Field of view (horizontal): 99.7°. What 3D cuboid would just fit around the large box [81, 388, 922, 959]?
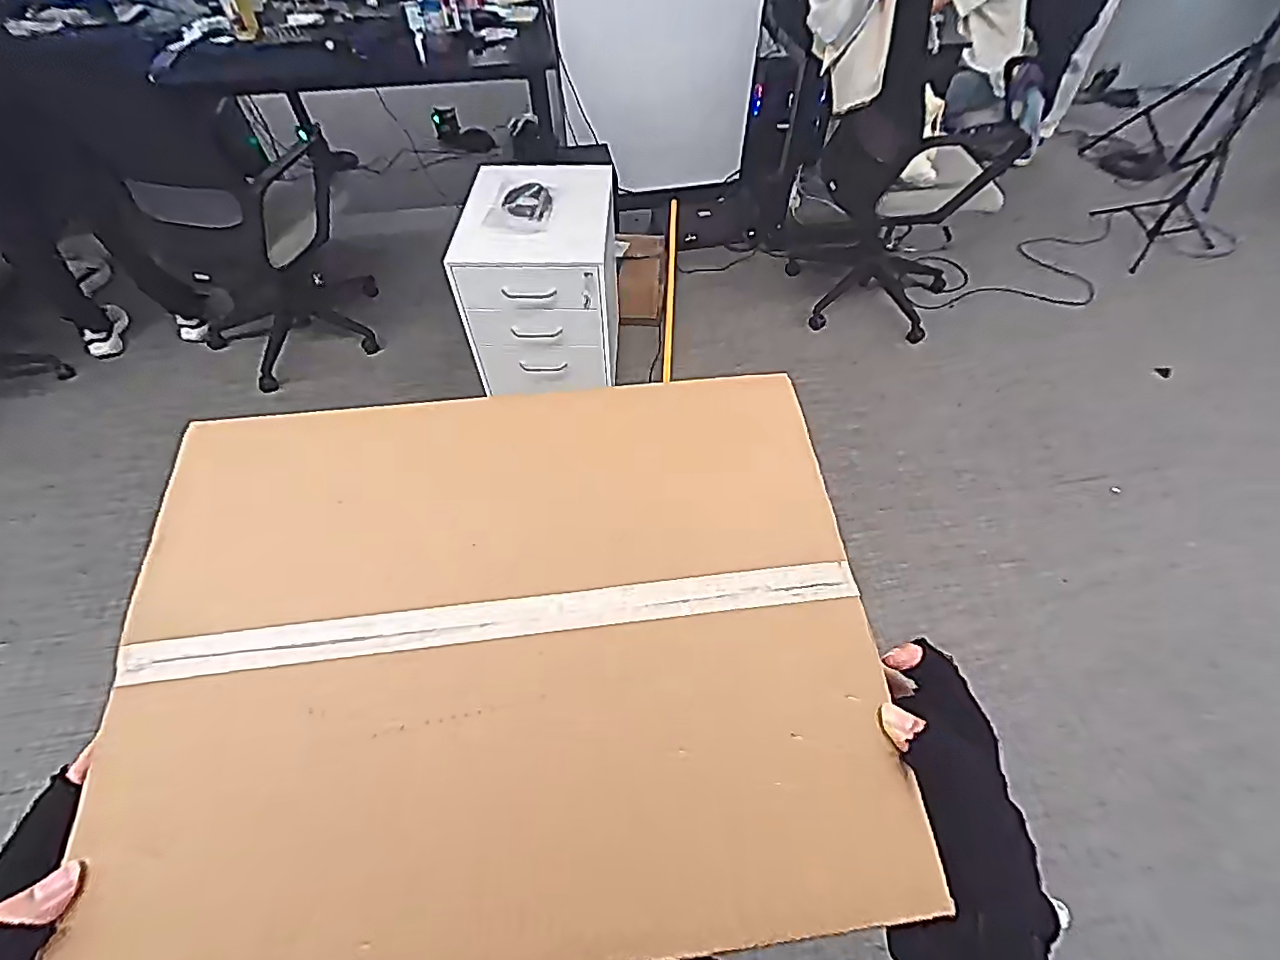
[{"bbox_3d":[-0.078,0.155,0.450,0.408,0.320,0.320,-6,64,-4],"label":"large box"}]
